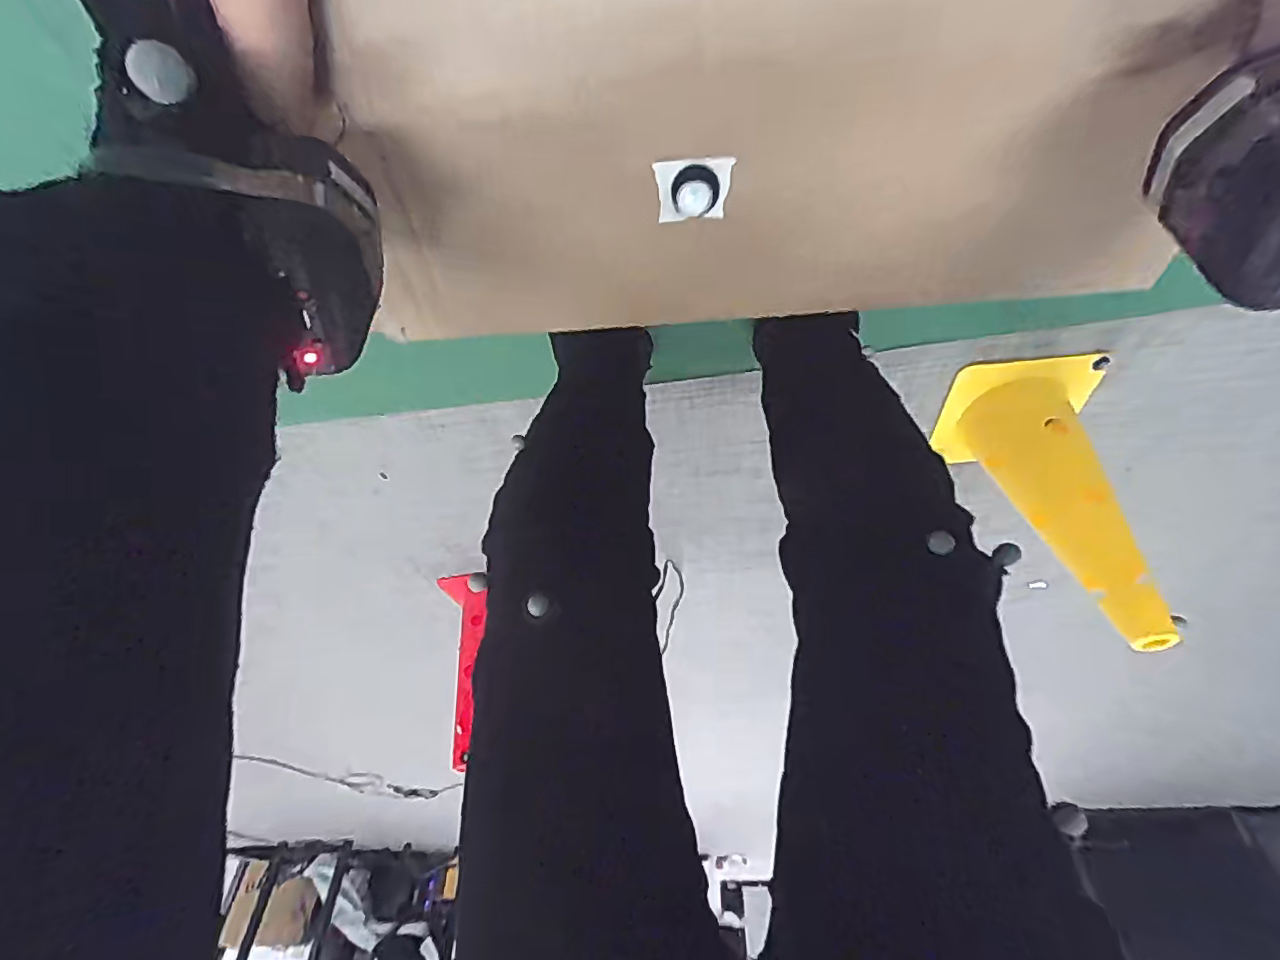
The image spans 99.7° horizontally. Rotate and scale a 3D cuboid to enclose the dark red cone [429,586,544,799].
[{"bbox_3d":[-0.336,0.409,1.071,0.202,0.394,0.201,-11,134,13],"label":"dark red cone"}]
